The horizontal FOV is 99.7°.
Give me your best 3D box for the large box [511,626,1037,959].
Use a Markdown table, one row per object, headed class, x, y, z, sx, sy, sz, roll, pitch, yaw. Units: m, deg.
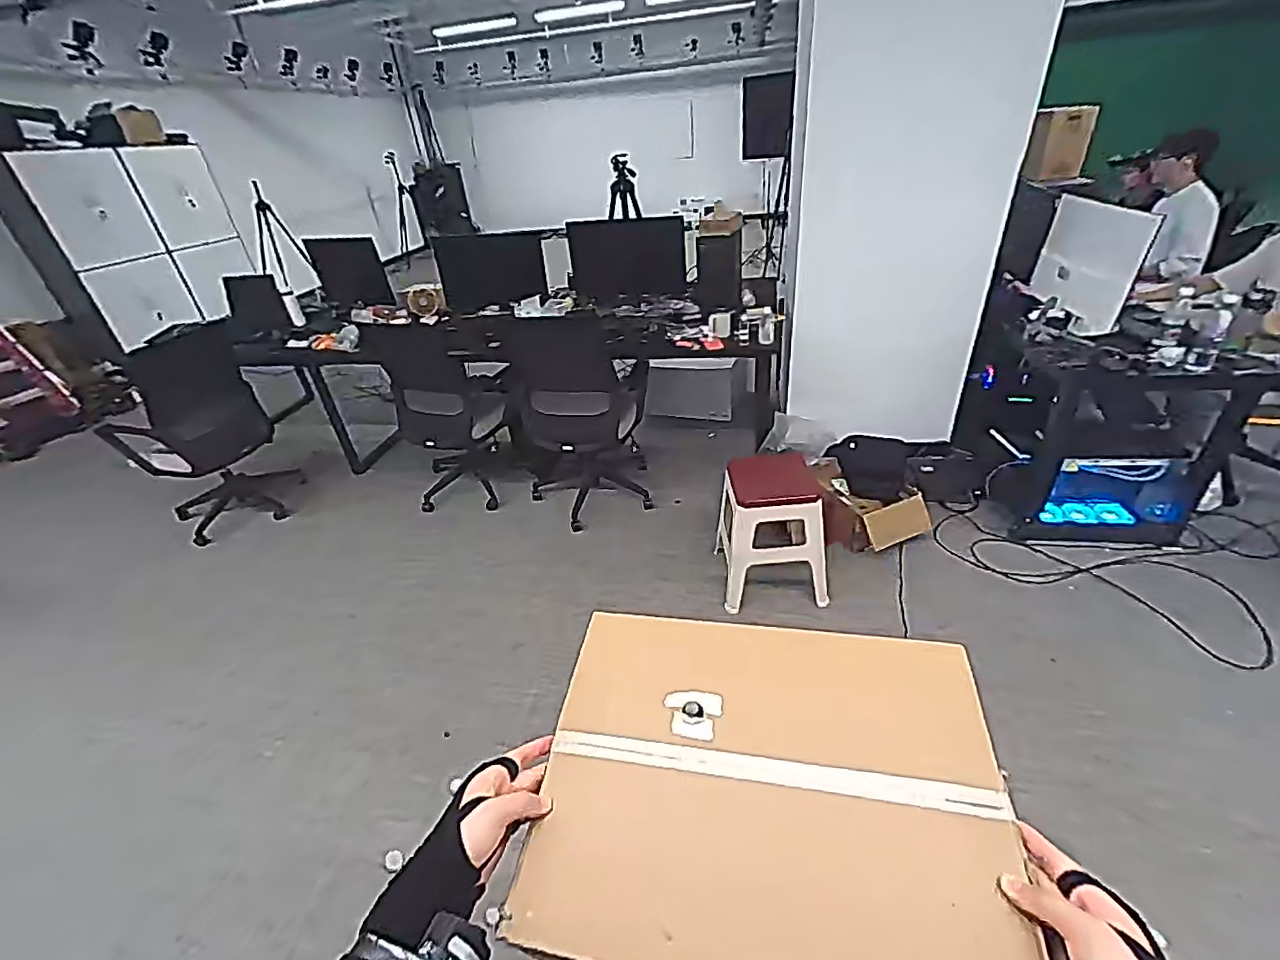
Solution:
| class | x | y | z | sx | sy | sz | roll | pitch | yaw |
| --- | --- | --- | --- | --- | --- | --- | --- | --- | --- |
| large box | 0.135 | 0.390 | 0.604 | 0.408 | 0.320 | 0.320 | 0 | 40 | 14 |
